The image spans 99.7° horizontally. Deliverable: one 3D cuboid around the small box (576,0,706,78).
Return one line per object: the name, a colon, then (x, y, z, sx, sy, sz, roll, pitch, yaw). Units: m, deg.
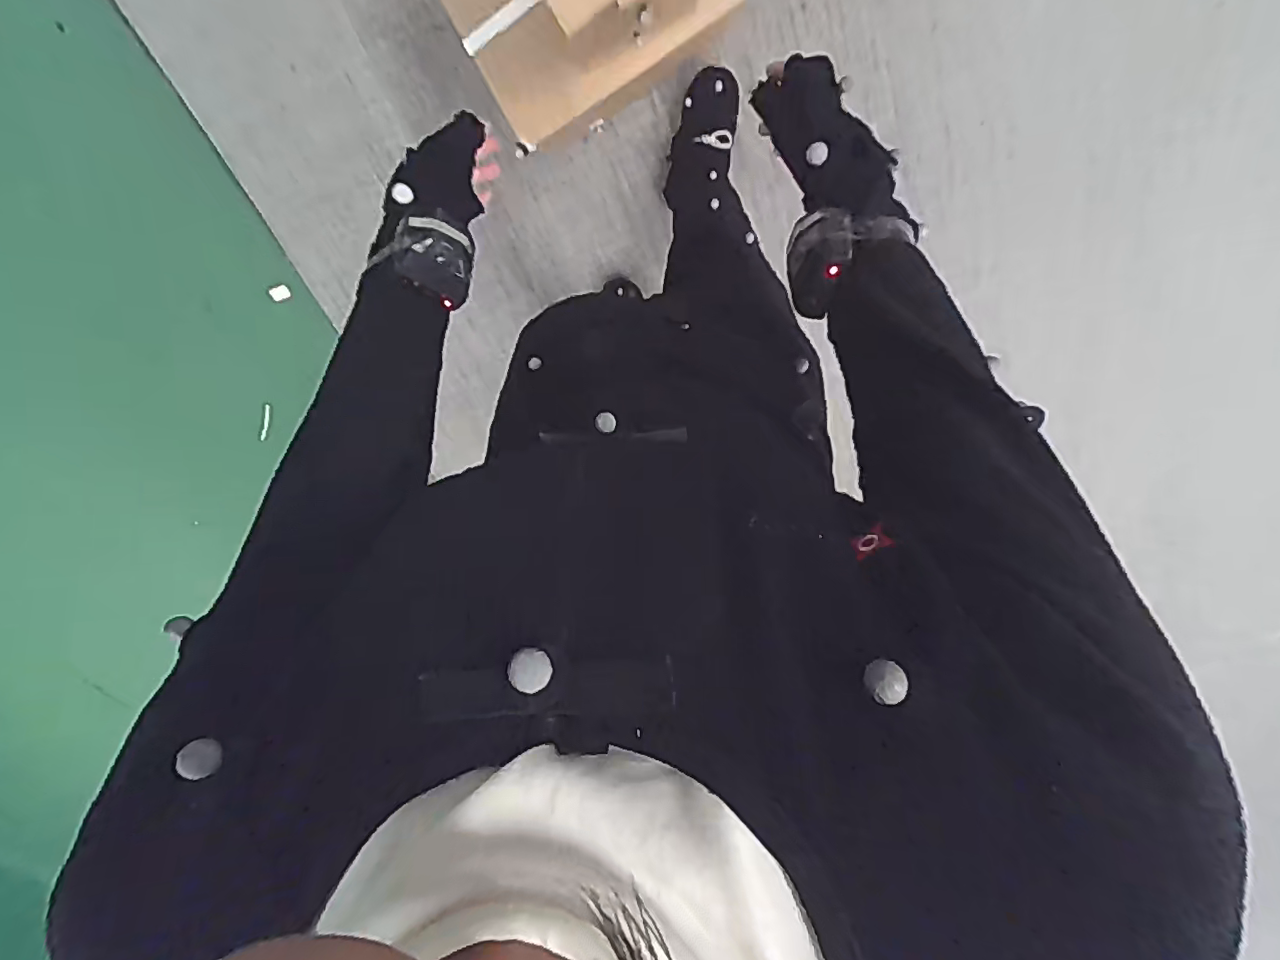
small box: (-0.026, -0.664, 0.704, 0.179, 0.176, 0.168, -20, 117, 14)

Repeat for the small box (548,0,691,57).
small box: (-0.034, -0.581, 0.564, 0.168, 0.176, 0.179, -23, 117, 15)
